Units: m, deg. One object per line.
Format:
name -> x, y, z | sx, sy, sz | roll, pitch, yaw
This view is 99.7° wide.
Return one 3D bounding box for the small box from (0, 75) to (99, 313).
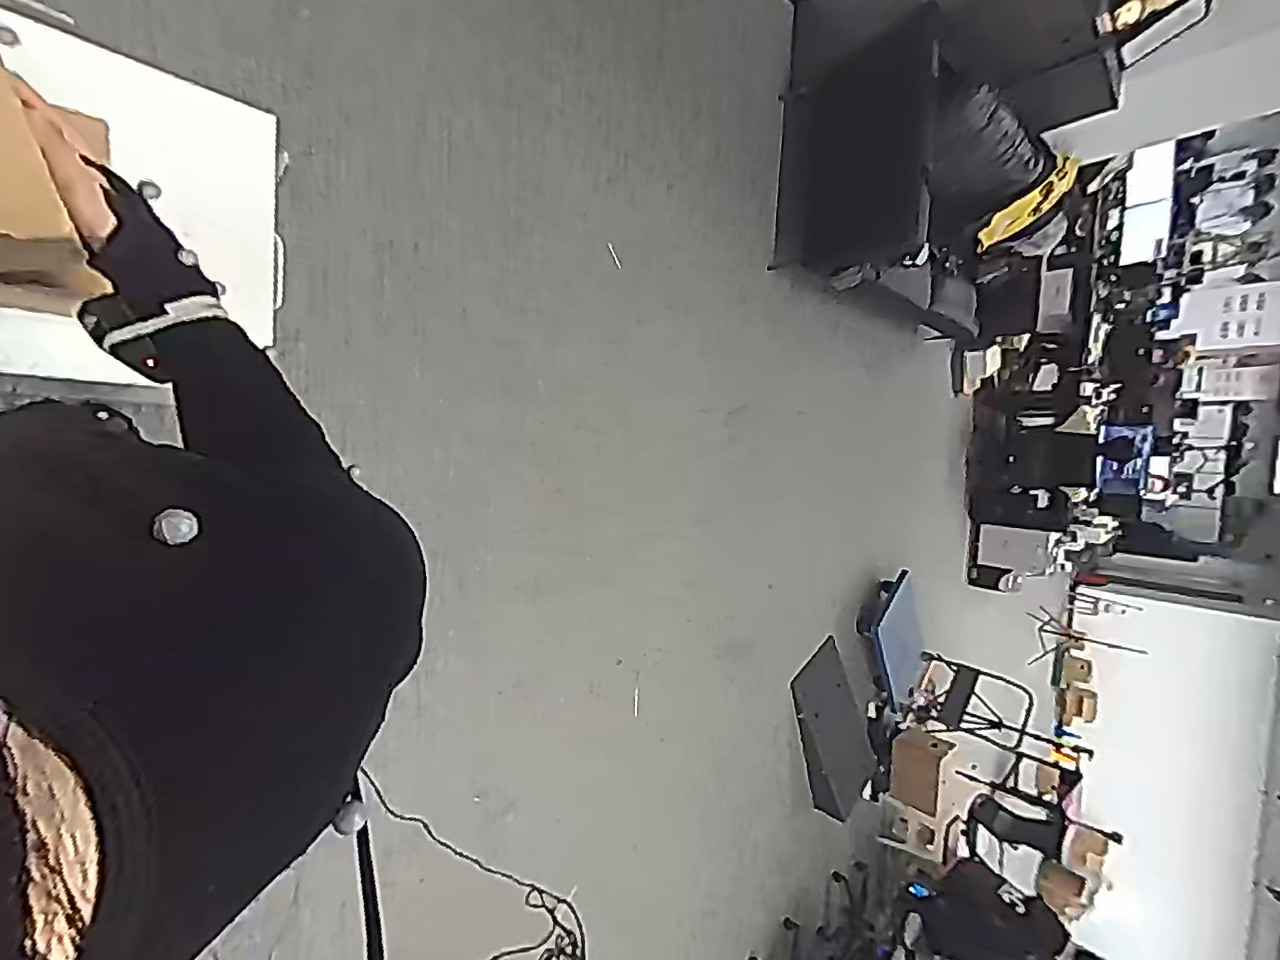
small box -> -0.643, -0.278, 0.523 | 0.168, 0.176, 0.179 | 1, 93, -45
